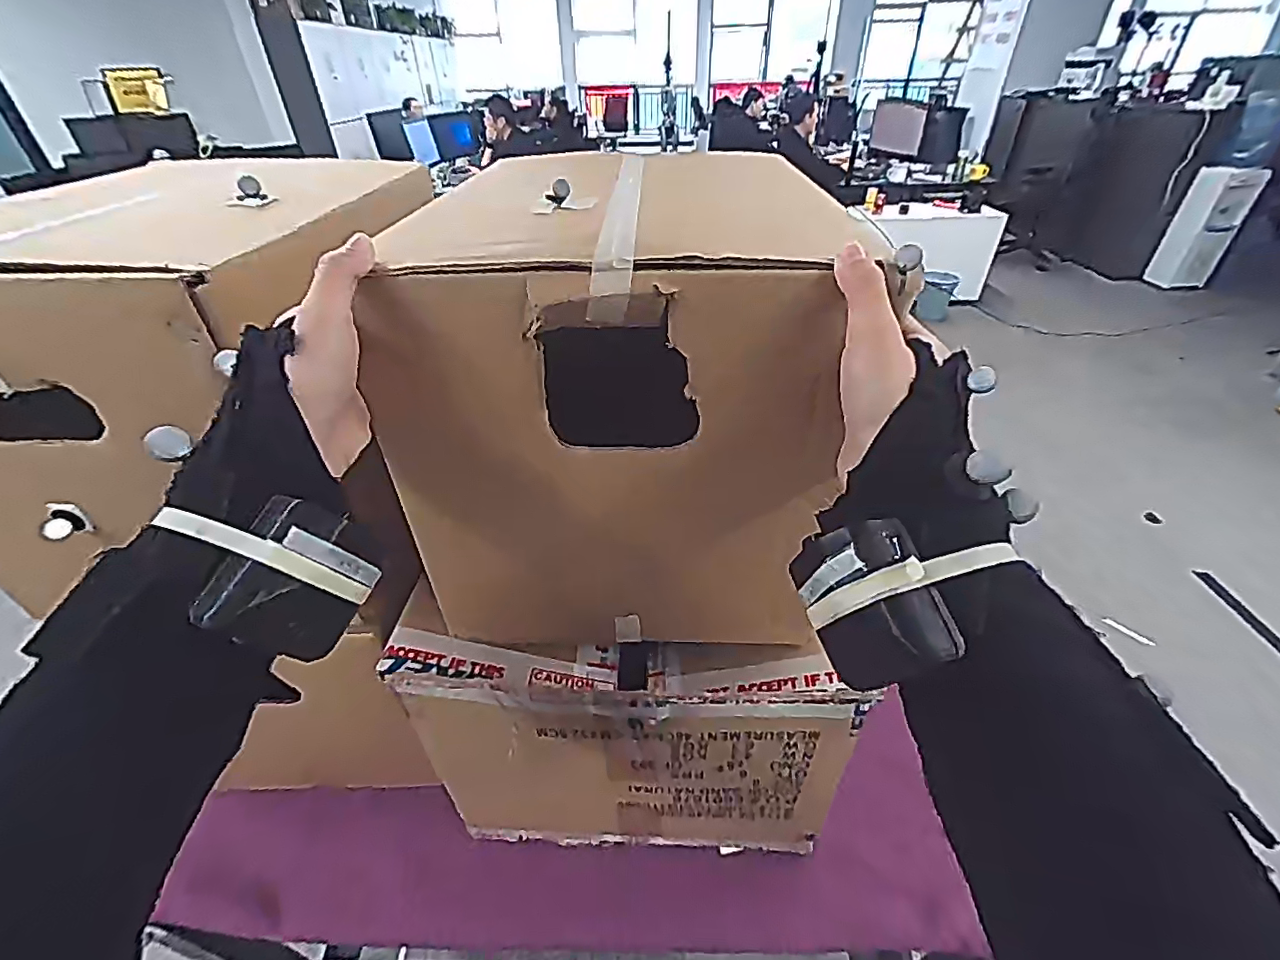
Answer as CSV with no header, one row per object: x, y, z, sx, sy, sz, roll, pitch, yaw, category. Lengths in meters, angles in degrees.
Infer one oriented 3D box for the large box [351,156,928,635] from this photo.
0.000,-0.107,0.527,0.320,0.320,0.408,-1,38,2,large box
